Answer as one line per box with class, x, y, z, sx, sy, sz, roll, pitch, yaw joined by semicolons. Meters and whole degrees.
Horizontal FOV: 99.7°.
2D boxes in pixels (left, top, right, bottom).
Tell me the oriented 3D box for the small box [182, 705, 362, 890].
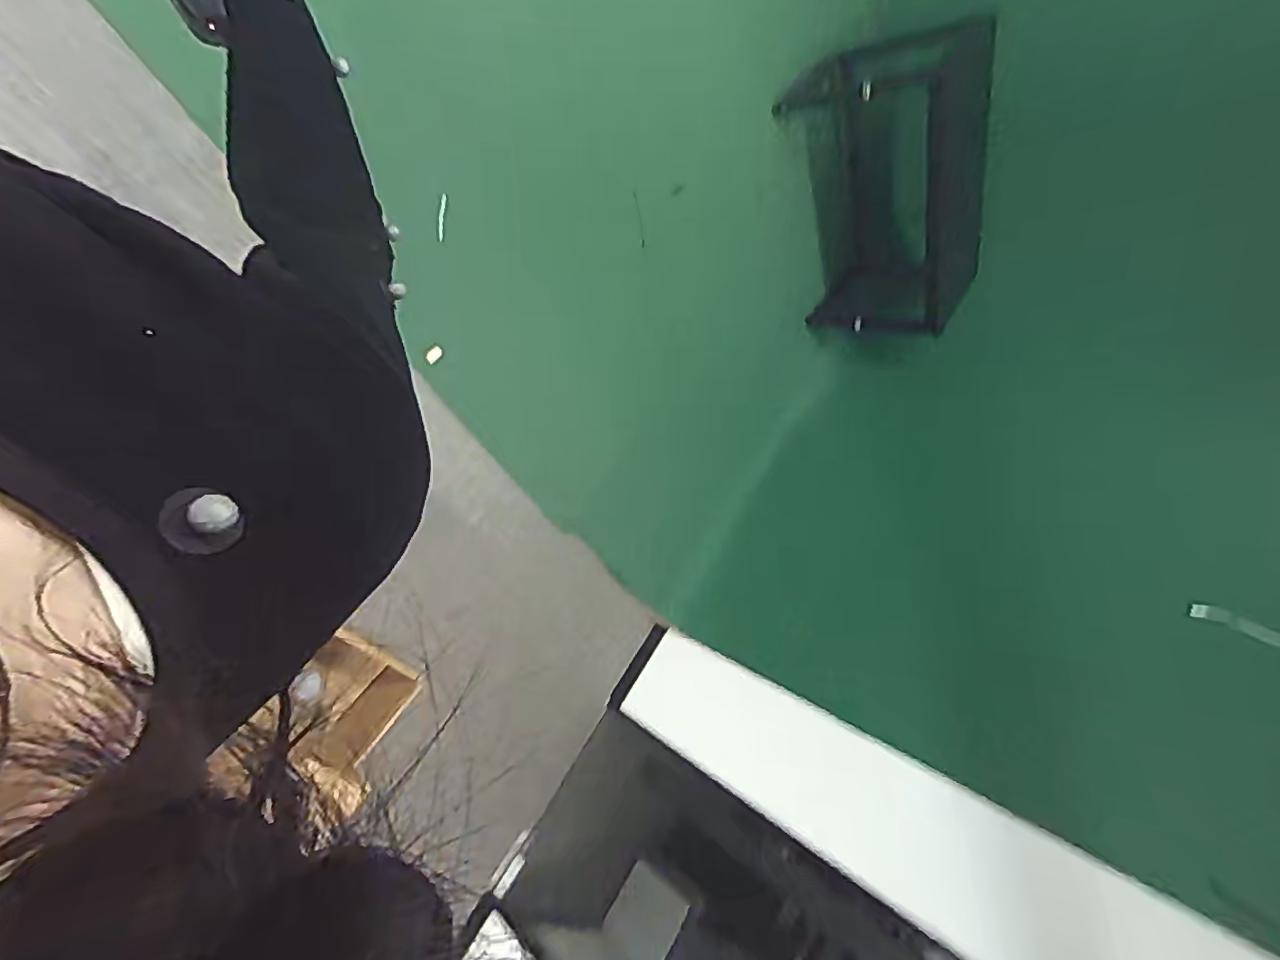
small box;-0.609;0.516;0.893;0.179;0.176;0.168;-45;136;-24
